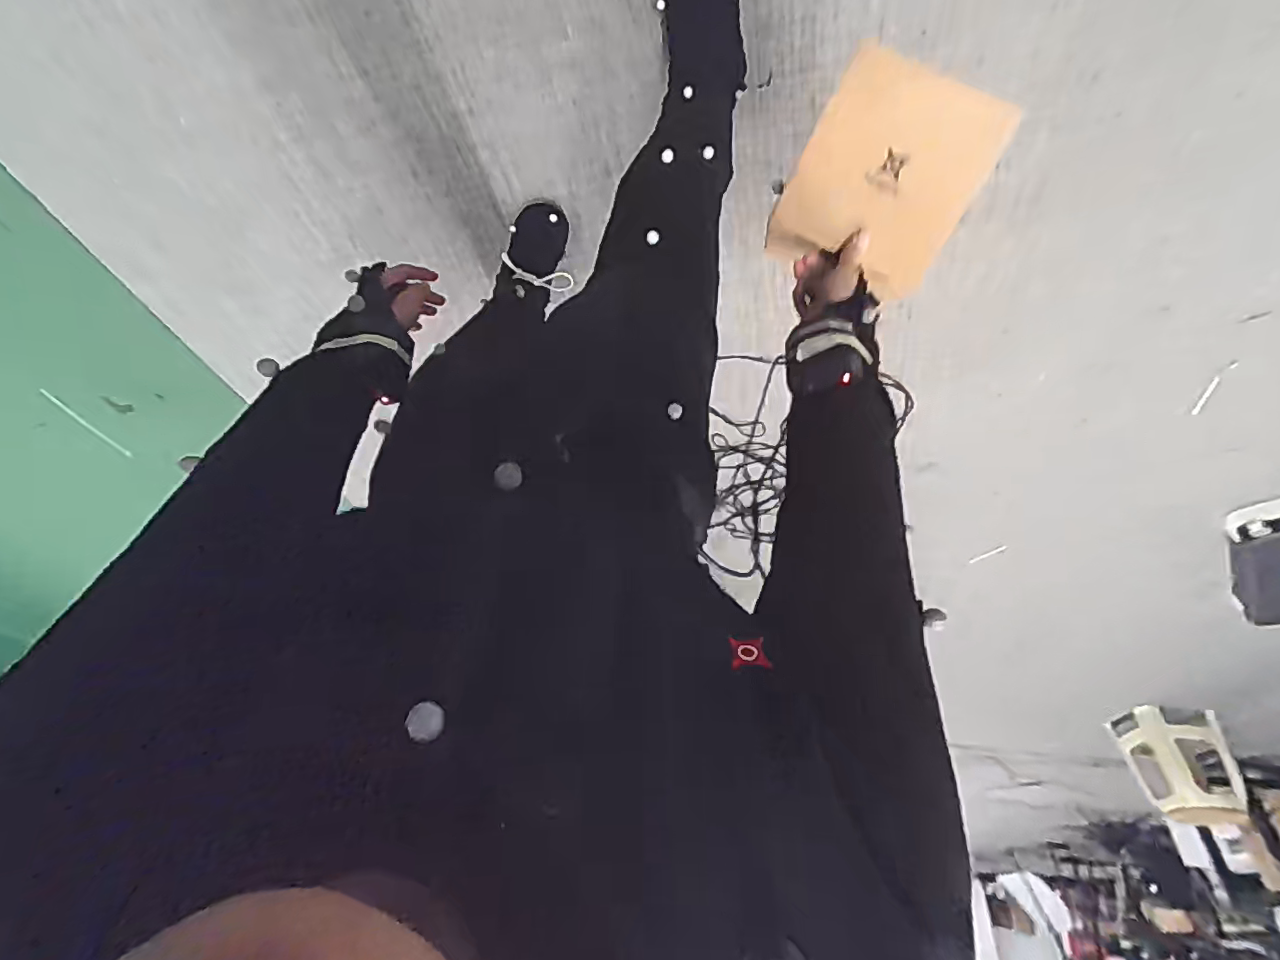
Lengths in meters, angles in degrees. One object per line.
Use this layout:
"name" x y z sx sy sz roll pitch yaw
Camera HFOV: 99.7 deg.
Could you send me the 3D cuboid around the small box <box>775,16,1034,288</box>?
"small box" 0.253 -0.323 0.576 0.168 0.176 0.179 26 109 5
